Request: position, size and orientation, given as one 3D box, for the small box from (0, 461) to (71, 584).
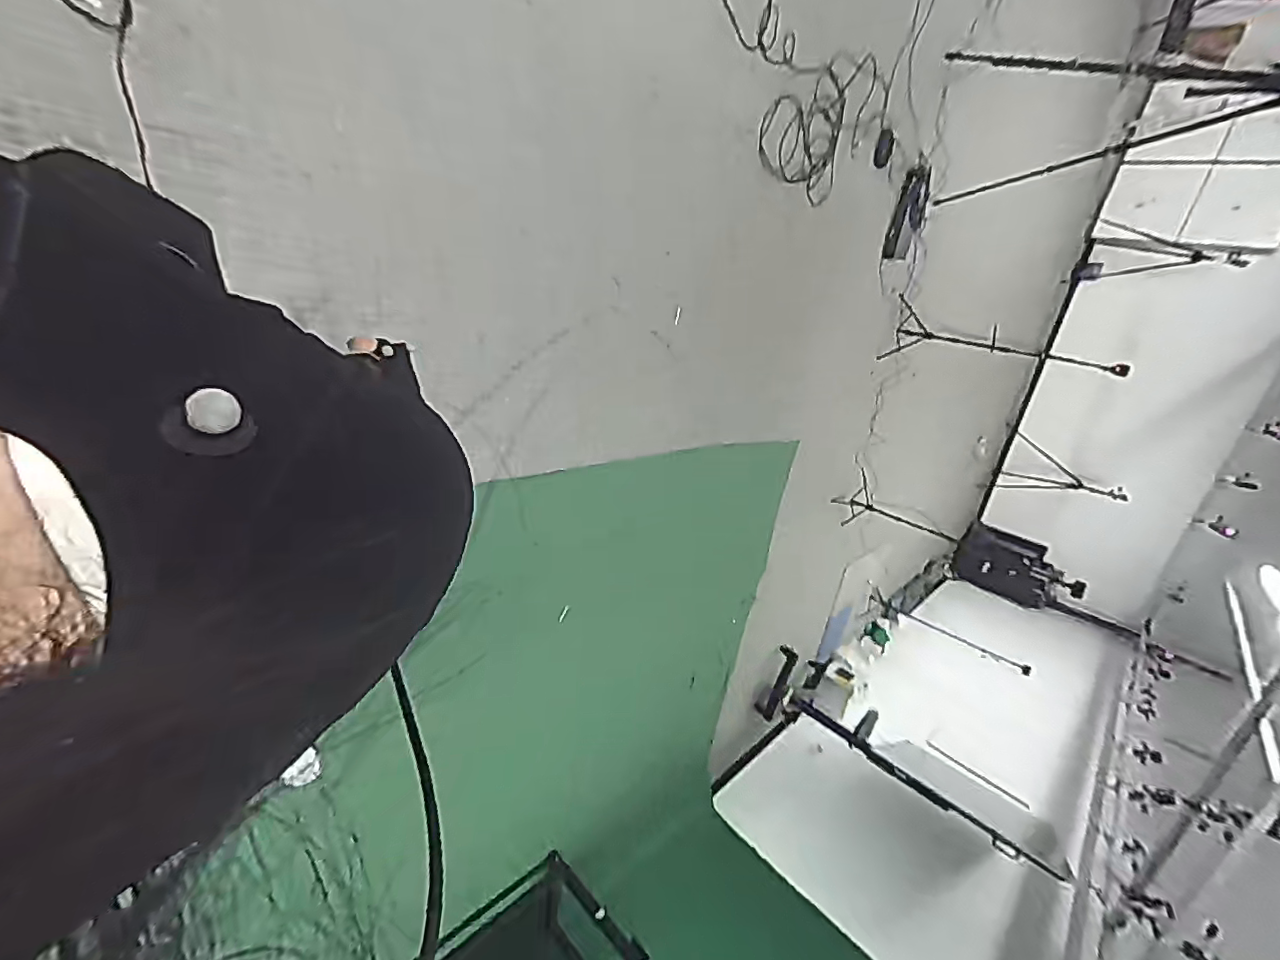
[{"bbox_3d":[-1.134,0.074,0.946,0.179,0.176,0.168,-10,117,-46],"label":"small box"}]
